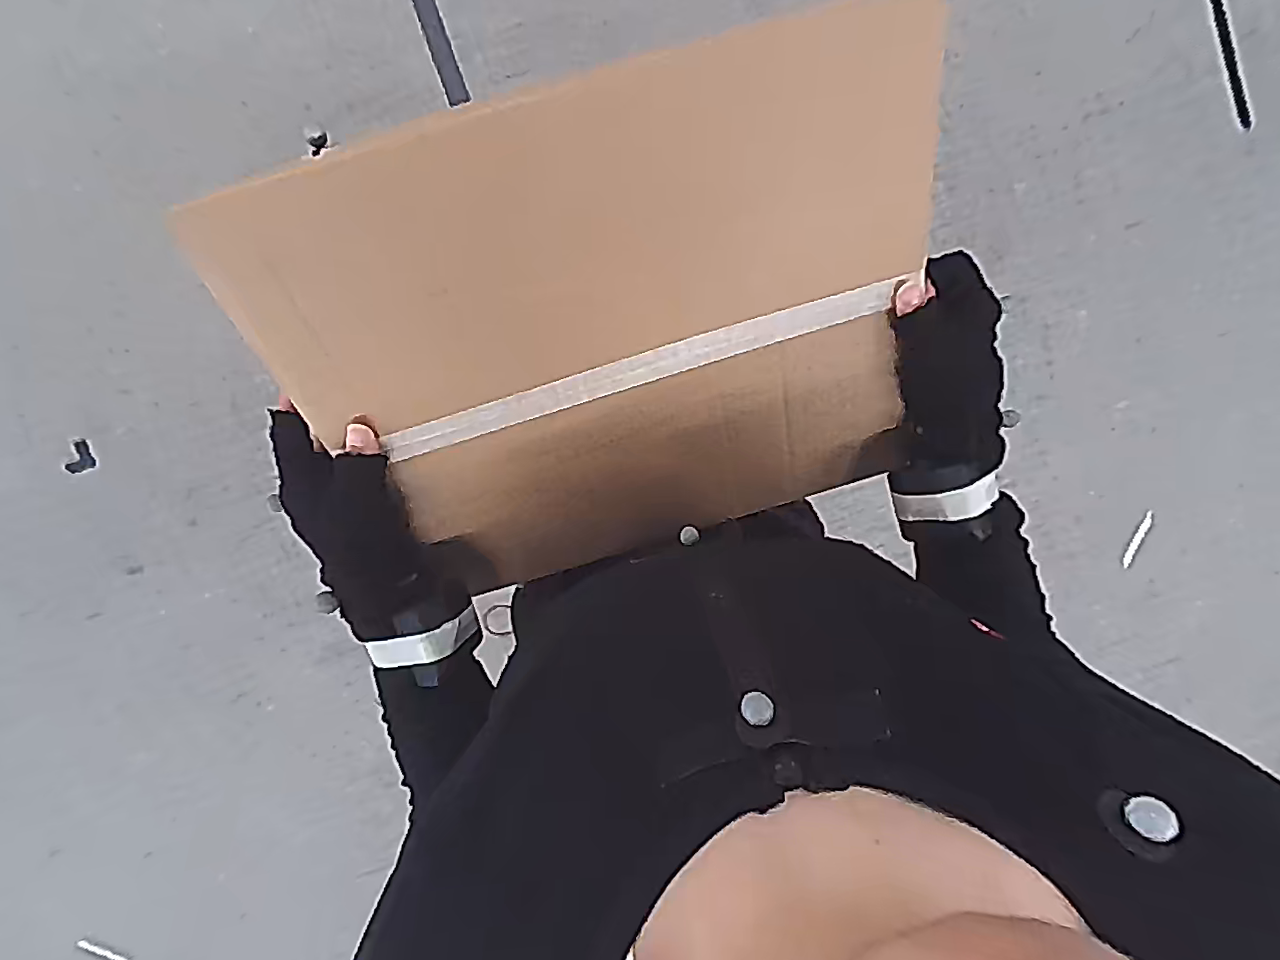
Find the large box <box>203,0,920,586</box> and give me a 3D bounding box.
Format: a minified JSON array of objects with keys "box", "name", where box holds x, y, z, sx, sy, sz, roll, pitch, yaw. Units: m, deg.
[{"box":[-0.035,-0.167,0.488,0.408,0.320,0.320,-17,128,0],"name":"large box"}]
